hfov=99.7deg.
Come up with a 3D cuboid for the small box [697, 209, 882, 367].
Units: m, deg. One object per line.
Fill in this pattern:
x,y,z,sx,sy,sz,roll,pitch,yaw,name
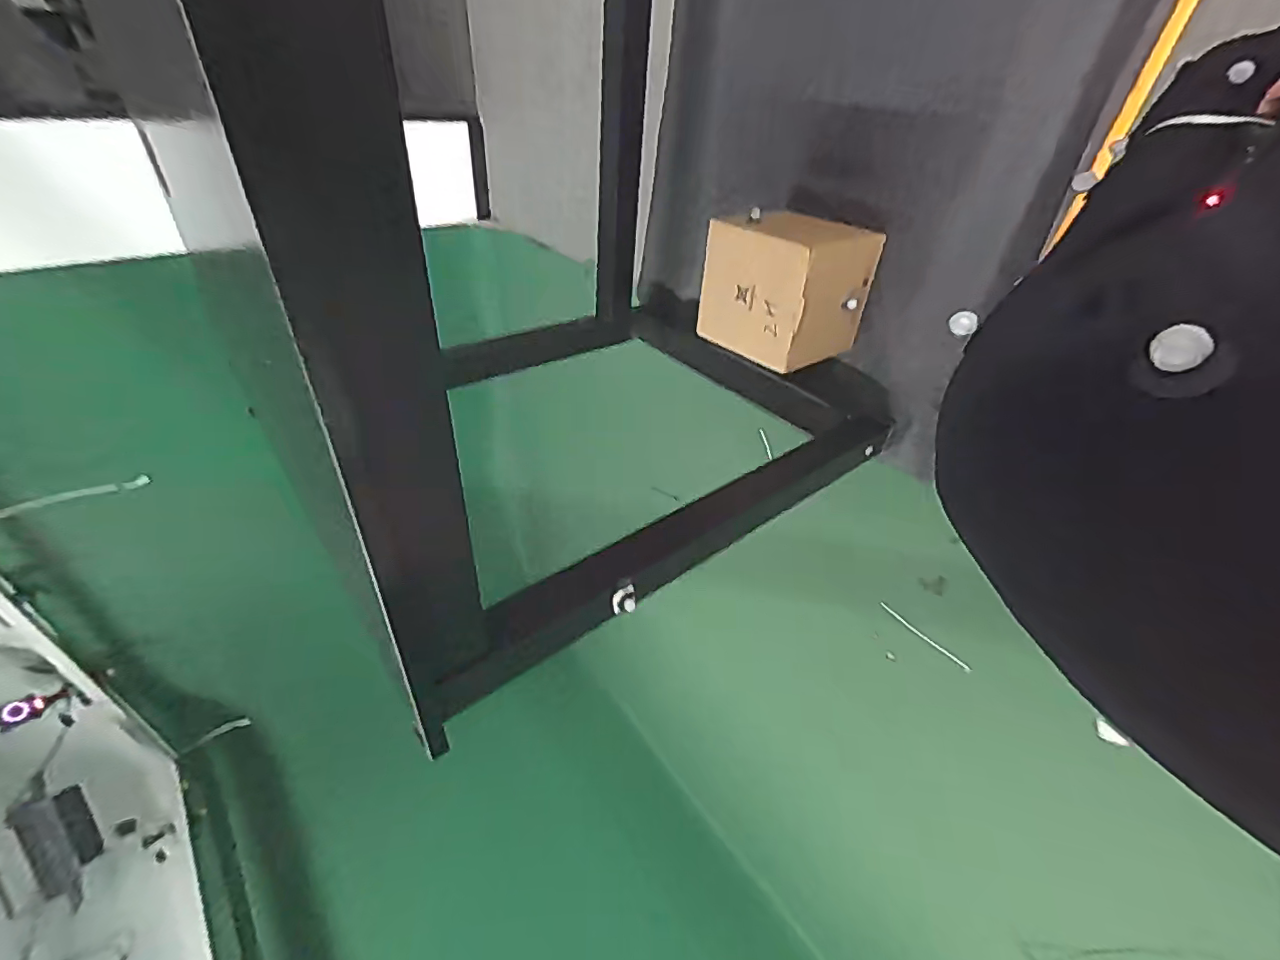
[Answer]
0.210,-0.287,0.785,0.179,0.176,0.168,38,139,37,small box
